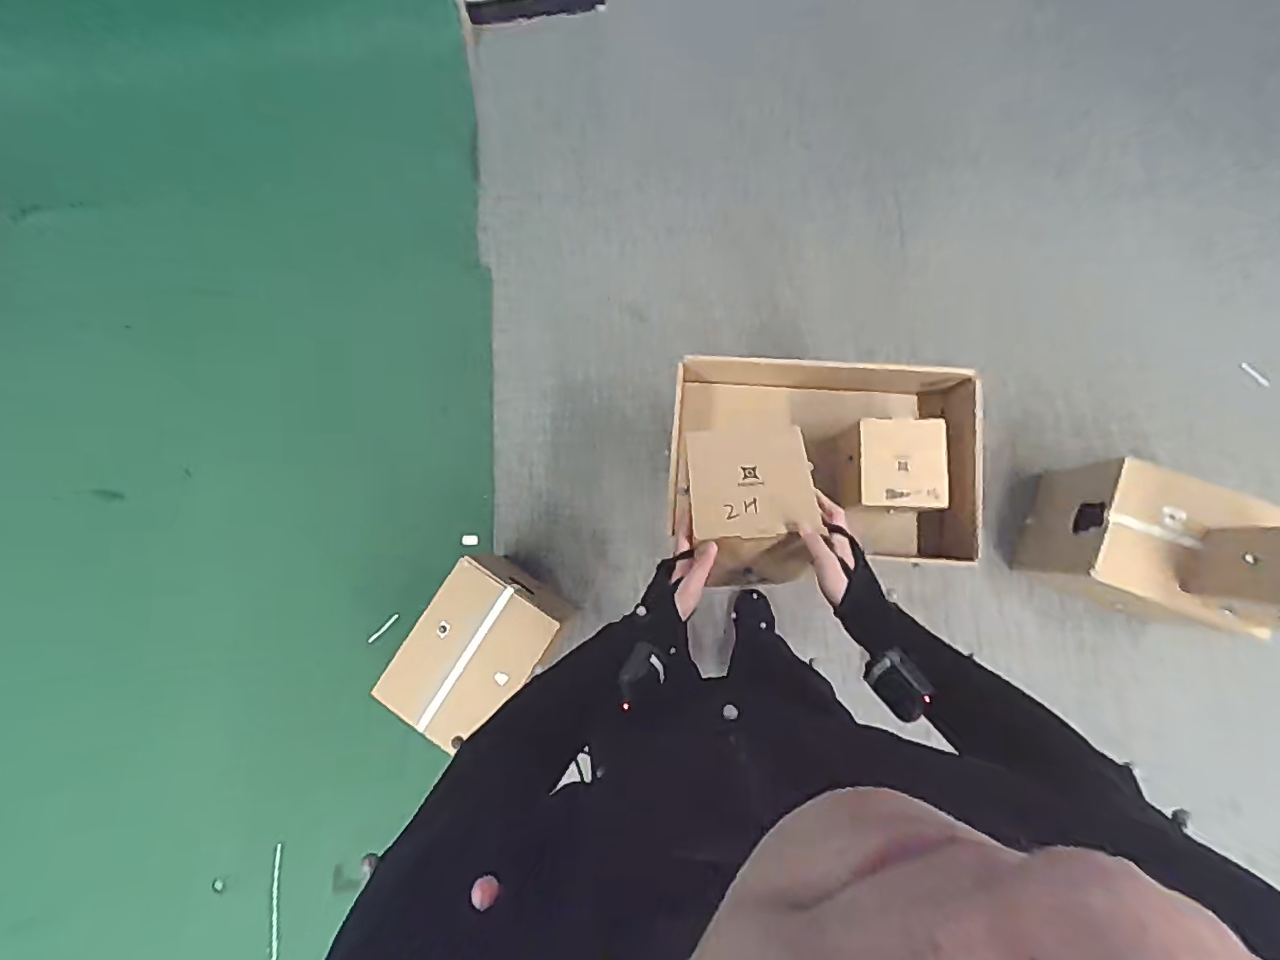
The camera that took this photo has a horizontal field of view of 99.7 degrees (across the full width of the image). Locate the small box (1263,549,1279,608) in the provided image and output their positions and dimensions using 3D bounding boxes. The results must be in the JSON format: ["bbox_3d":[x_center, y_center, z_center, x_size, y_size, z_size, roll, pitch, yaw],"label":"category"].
[{"bbox_3d":[1.334,0.192,0.994,0.168,0.176,0.179,27,86,7],"label":"small box"}]

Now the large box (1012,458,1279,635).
[{"bbox_3d":[1.300,0.169,1.412,0.408,0.320,0.320,20,84,7],"label":"large box"}]

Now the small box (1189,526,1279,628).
[{"bbox_3d":[1.352,0.206,1.157,0.168,0.176,0.179,27,87,7],"label":"small box"}]

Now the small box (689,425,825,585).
[{"bbox_3d":[0.157,0.041,0.794,0.168,0.176,0.179,-3,58,4],"label":"small box"}]
